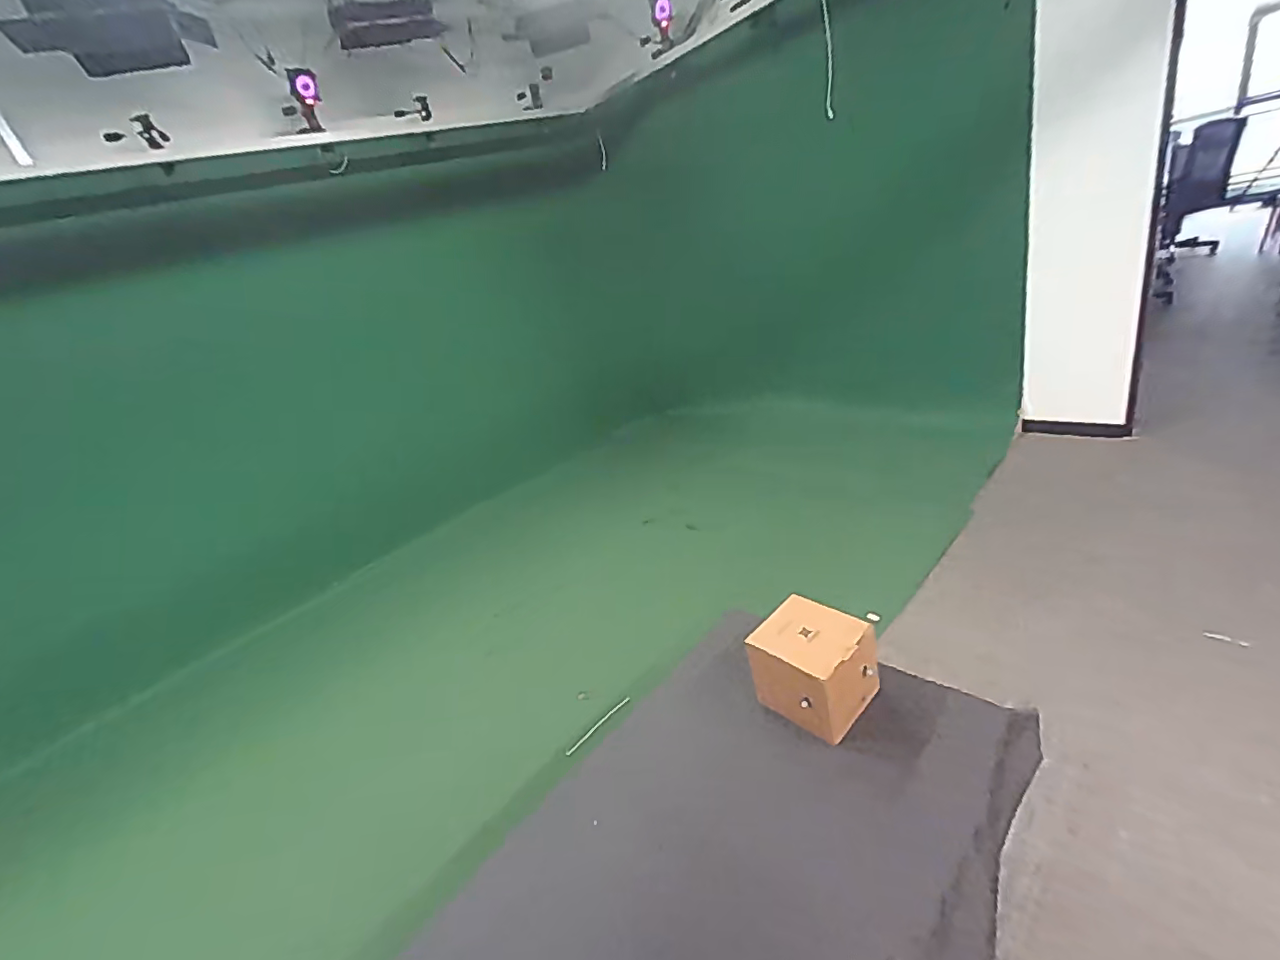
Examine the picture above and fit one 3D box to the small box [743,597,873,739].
[{"bbox_3d":[0.329,0.362,1.044,0.168,0.176,0.179,-31,27,-32],"label":"small box"}]
